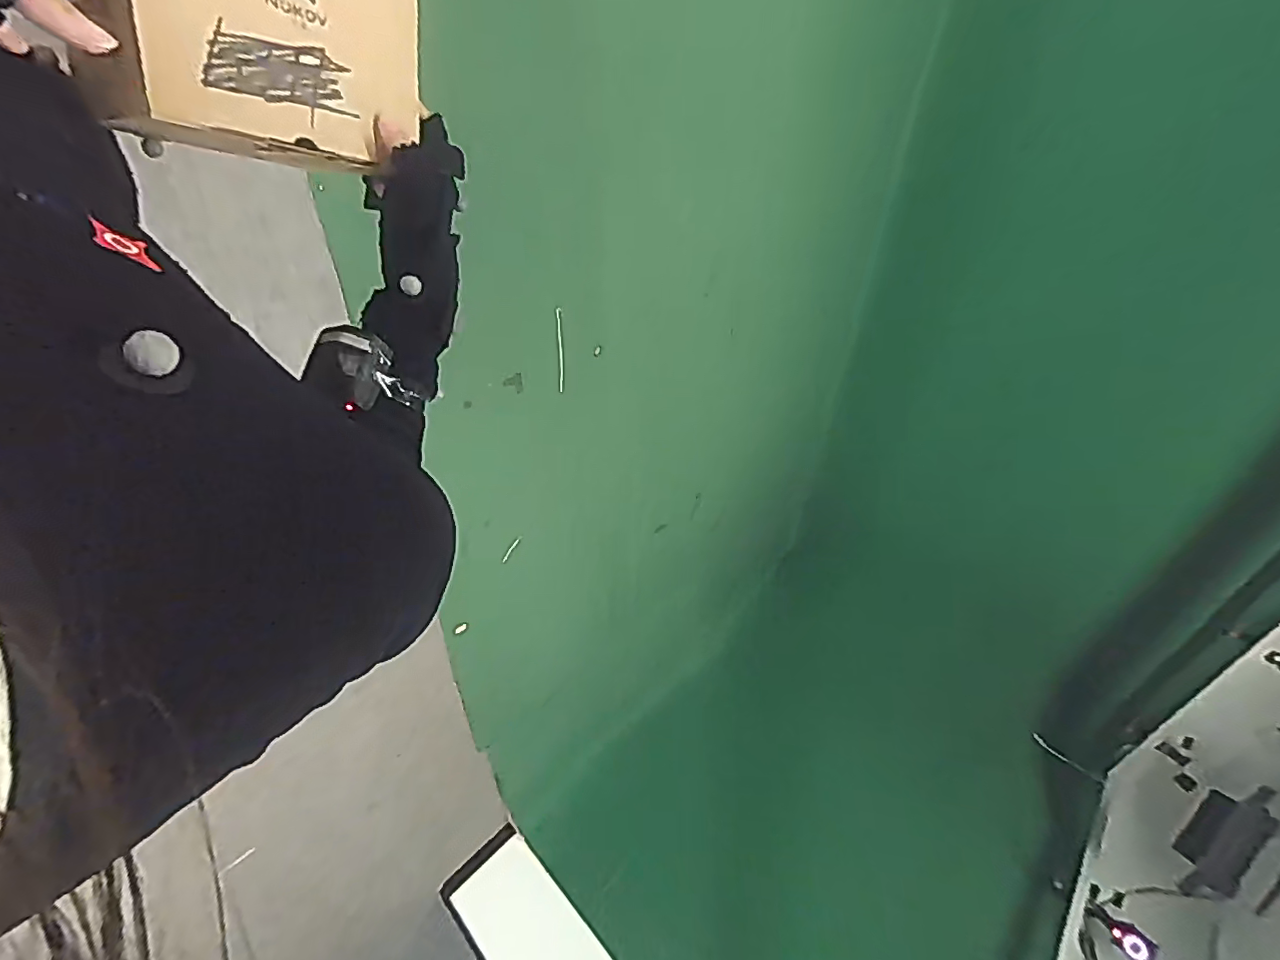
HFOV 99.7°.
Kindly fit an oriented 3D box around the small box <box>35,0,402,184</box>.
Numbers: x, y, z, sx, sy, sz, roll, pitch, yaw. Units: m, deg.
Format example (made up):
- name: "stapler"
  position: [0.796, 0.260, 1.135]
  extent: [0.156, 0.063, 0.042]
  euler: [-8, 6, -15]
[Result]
- name: "small box"
  position: [-0.289, -0.322, 0.378]
  extent: [0.168, 0.176, 0.179]
  euler: [-20, 124, -51]
